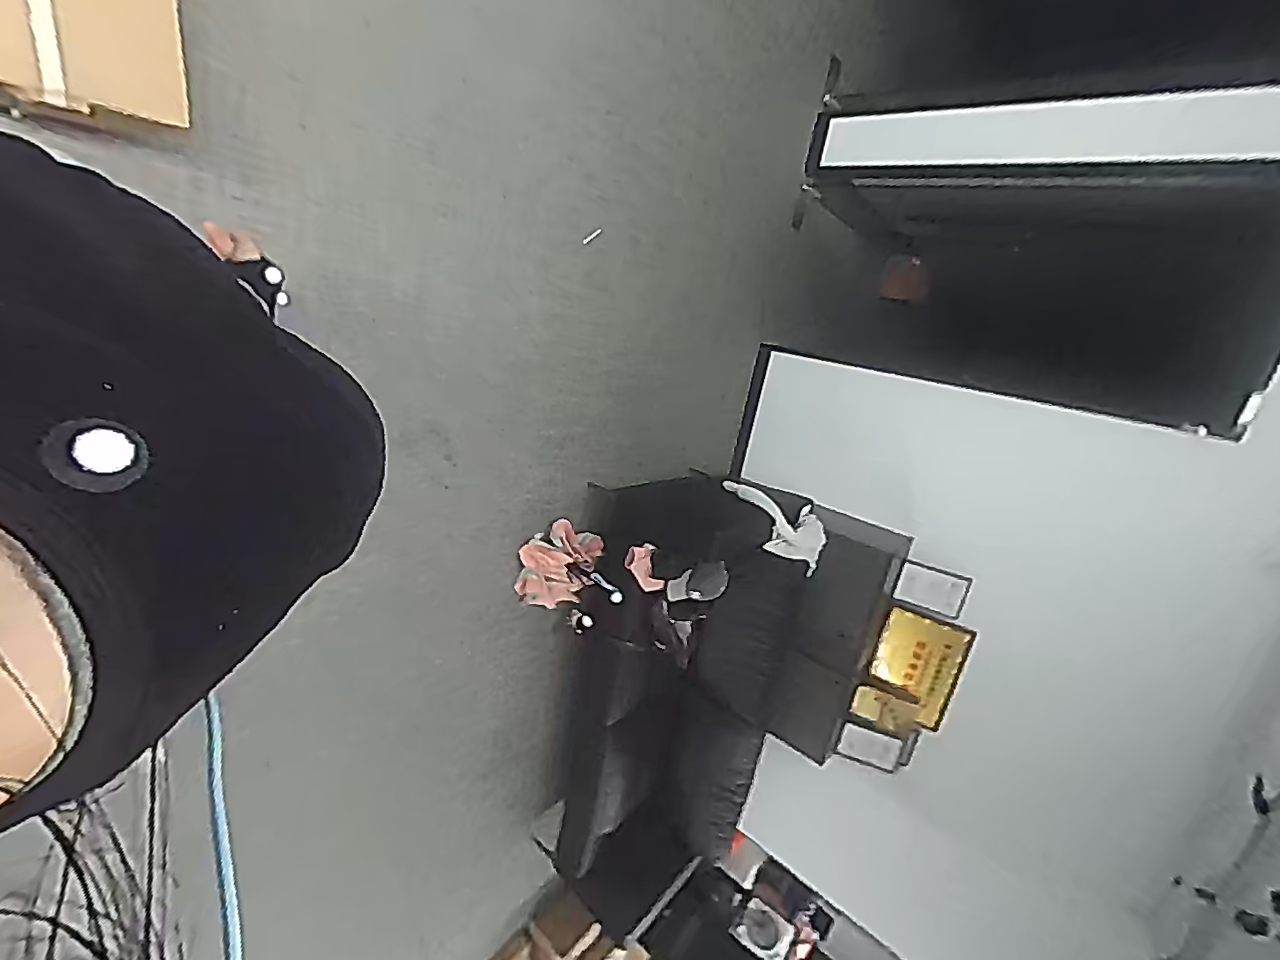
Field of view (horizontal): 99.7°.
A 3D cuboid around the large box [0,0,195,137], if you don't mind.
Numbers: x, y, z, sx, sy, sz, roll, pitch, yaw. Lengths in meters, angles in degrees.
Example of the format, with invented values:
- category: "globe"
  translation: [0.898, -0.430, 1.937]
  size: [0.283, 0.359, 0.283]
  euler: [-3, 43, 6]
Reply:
- category: "large box"
  translation: [-0.914, -0.781, 0.792]
  size: [0.320, 0.320, 0.408]
  euler: [-15, 119, -49]
